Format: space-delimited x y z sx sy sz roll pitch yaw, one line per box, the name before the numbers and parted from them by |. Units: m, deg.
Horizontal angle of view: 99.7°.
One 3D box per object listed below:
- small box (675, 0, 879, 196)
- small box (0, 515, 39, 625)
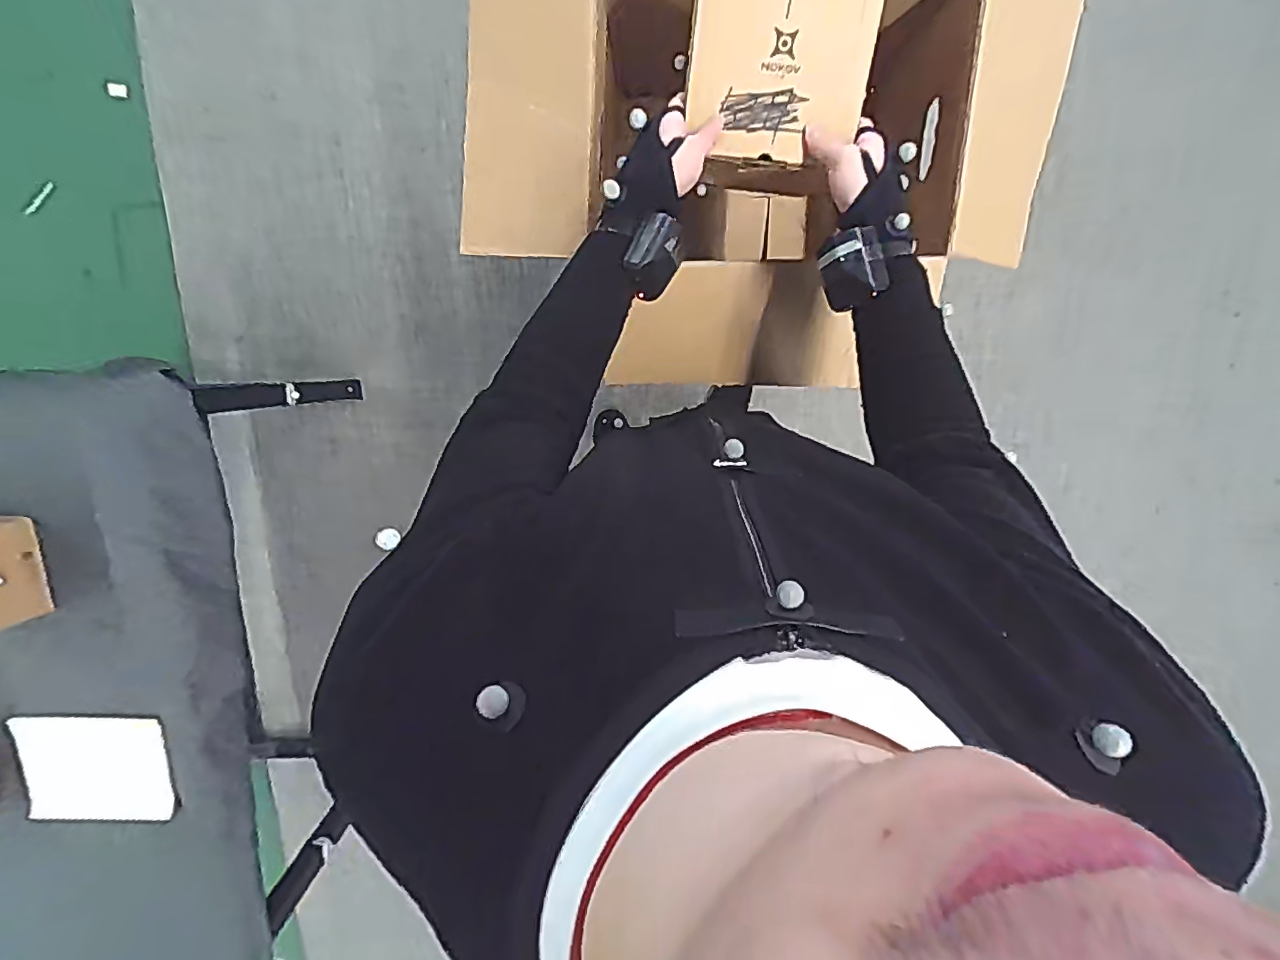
small box | 0.129 -0.414 0.573 0.168 0.176 0.179 6 110 -1
small box | -1.071 0.151 0.808 0.179 0.176 0.168 -1 101 0
